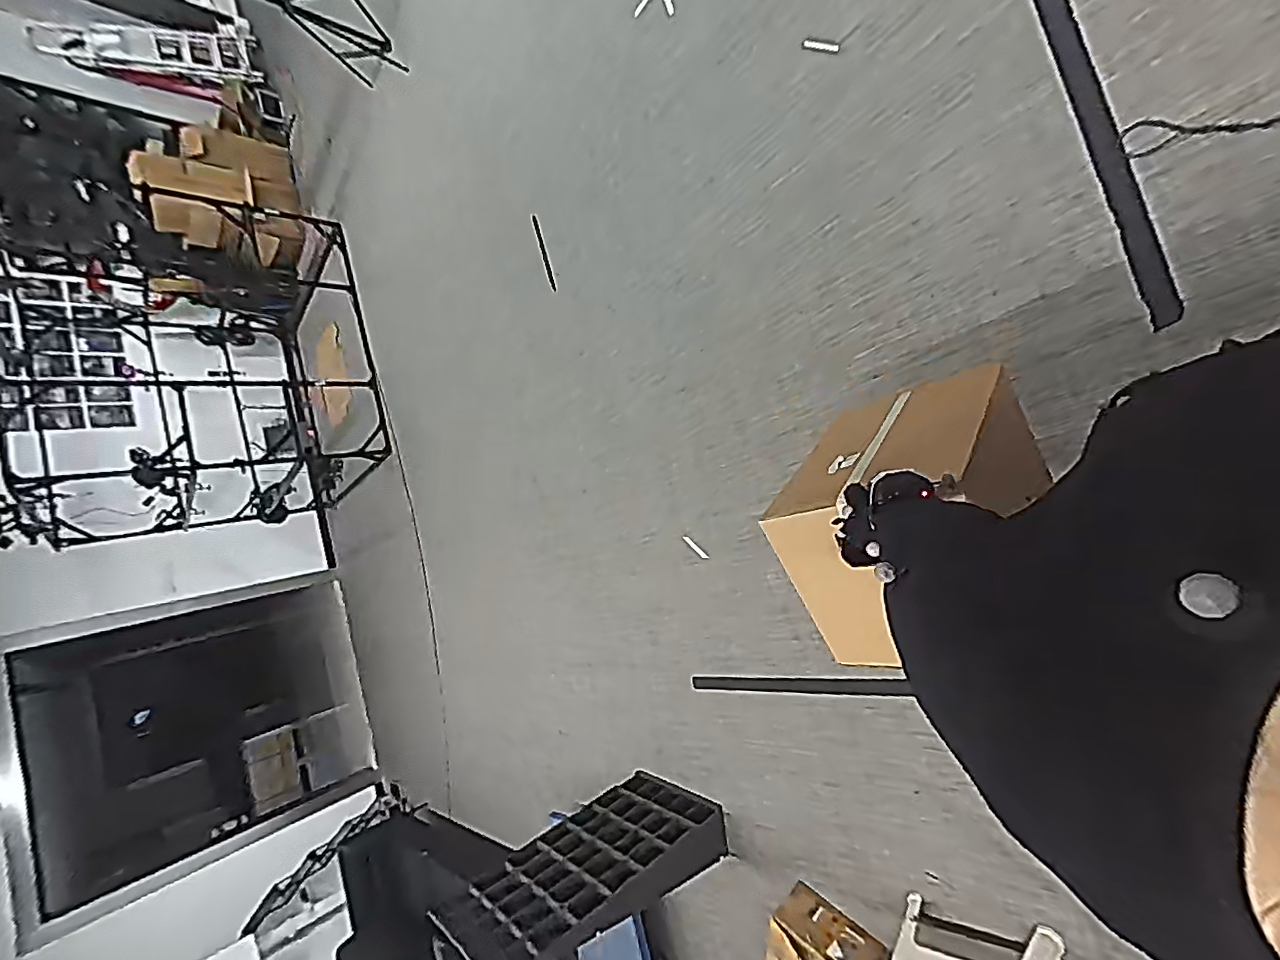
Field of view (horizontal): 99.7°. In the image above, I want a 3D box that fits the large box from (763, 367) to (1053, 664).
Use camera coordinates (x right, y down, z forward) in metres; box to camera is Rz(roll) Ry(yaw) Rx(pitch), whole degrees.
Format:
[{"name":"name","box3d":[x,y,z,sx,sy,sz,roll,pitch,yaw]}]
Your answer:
[{"name":"large box","box3d":[0.483,0.061,0.942,0.320,0.408,0.320,-20,106,46]}]
